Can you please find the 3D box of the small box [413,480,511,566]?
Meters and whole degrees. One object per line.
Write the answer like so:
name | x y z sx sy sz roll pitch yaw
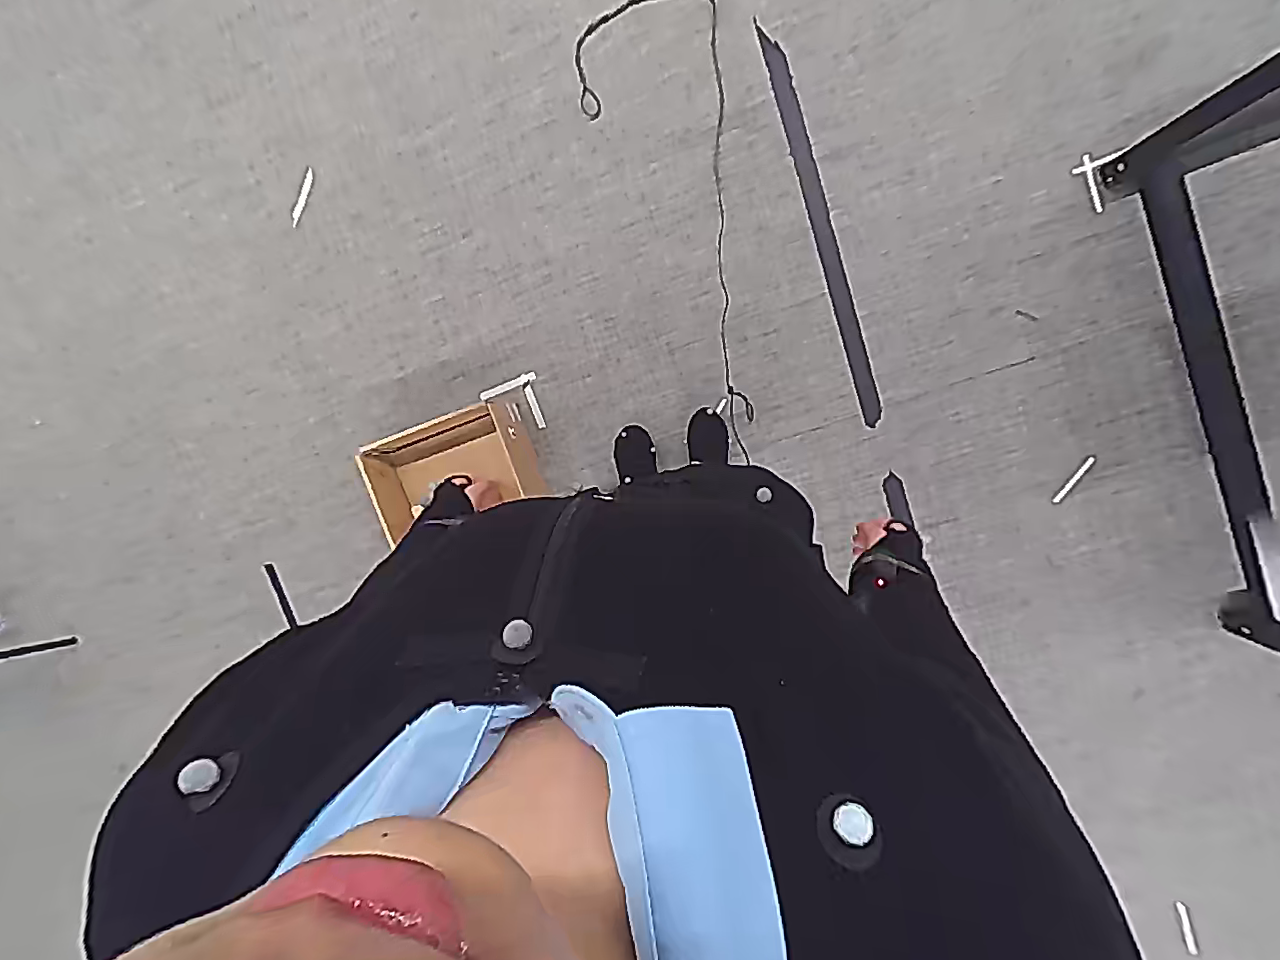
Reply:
small box | -0.462 0.109 1.445 0.179 0.176 0.168 -20 94 9
